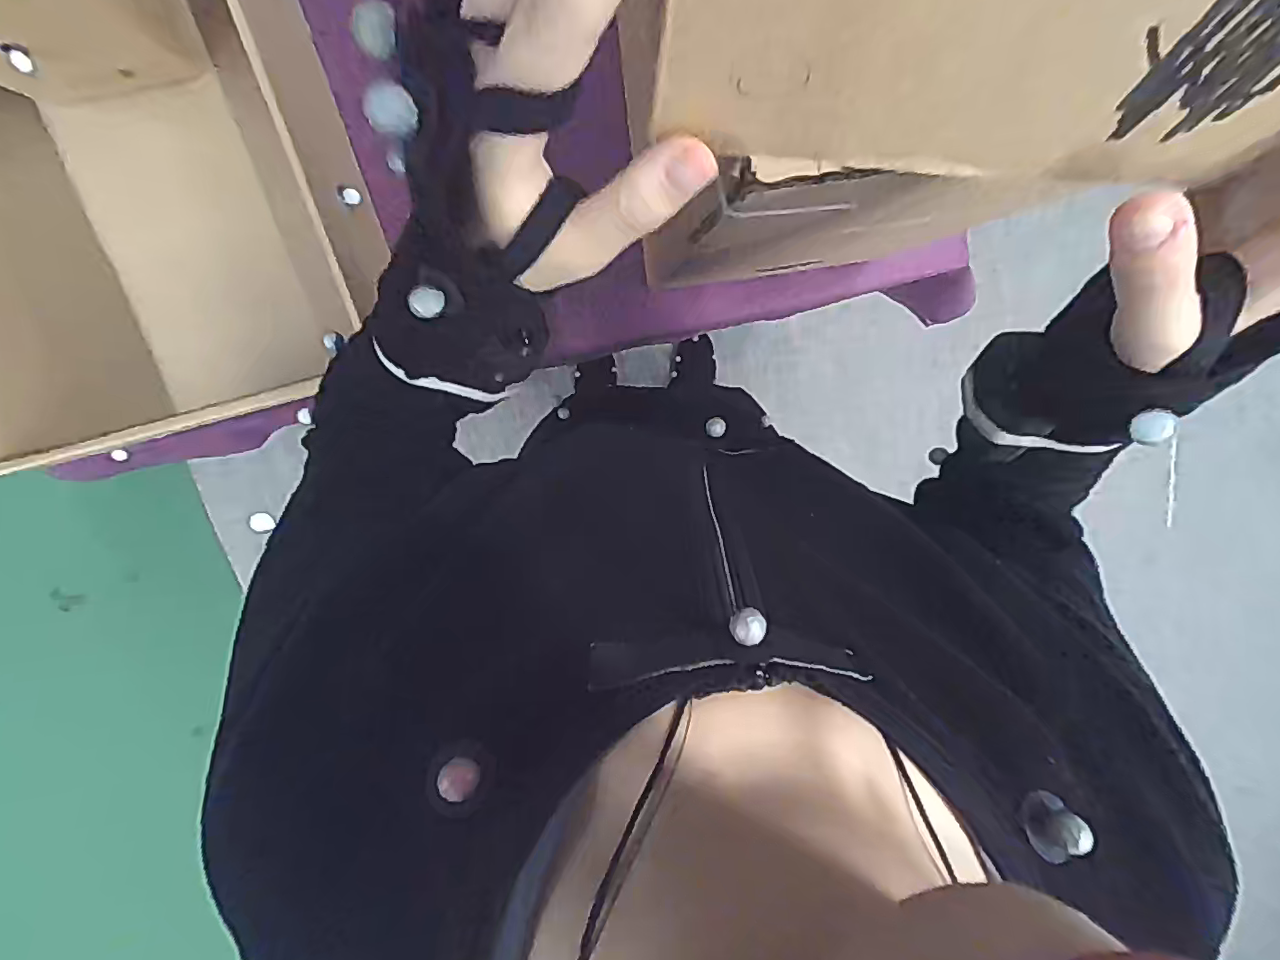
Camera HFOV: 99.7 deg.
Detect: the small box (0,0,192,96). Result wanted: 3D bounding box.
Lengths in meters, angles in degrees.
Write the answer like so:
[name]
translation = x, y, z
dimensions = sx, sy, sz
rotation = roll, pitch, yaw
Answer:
[small box]
translation = -0.553, -0.469, 0.471
dimensions = 0.168, 0.176, 0.179
rotation = -12, 105, 0
